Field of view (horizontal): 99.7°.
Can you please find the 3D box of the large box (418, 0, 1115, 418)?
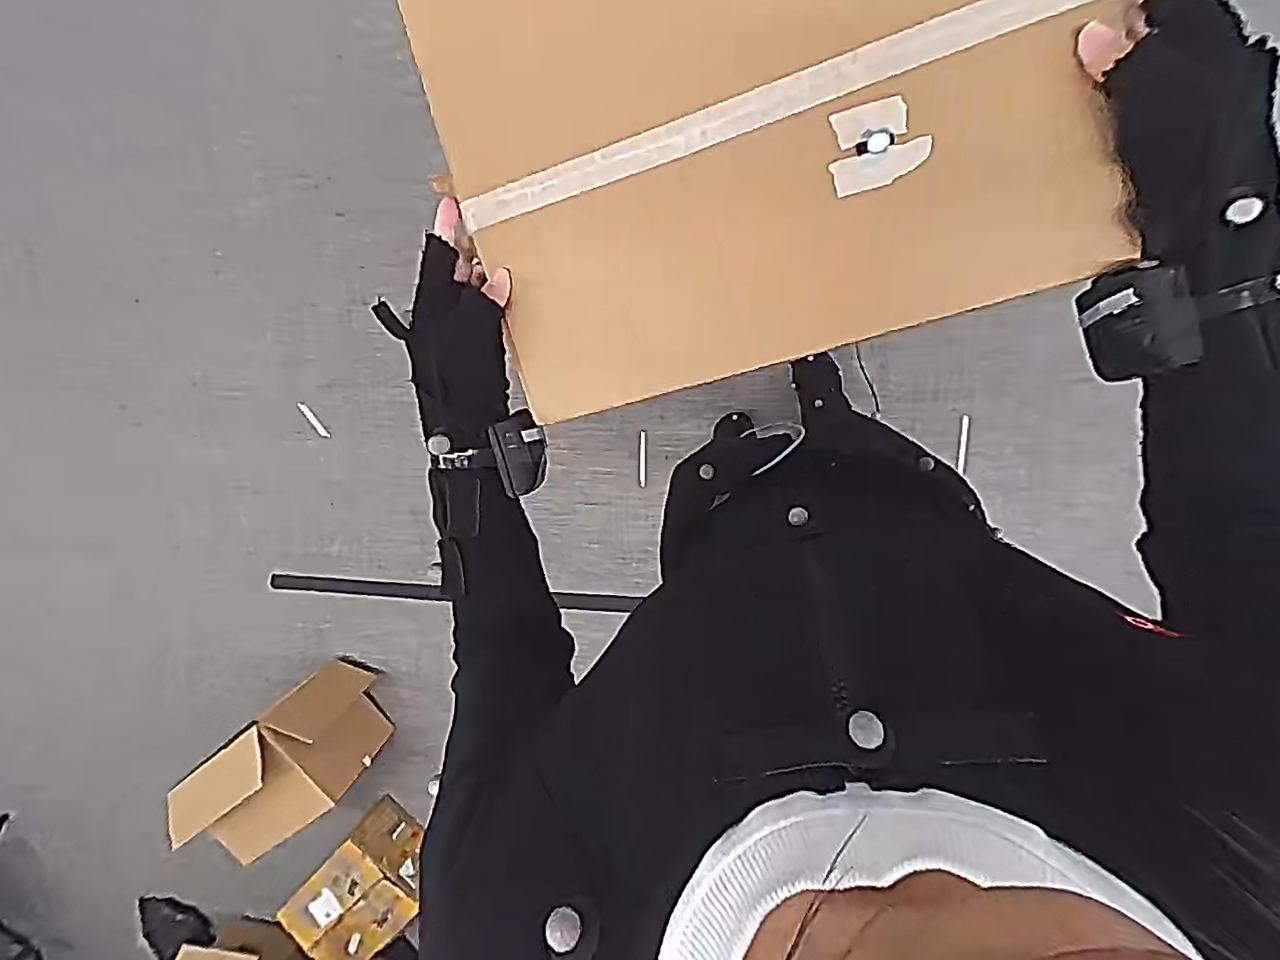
[{"bbox_3d":[0.094,-0.271,0.499,0.408,0.320,0.320,-14,102,11],"label":"large box"}]
